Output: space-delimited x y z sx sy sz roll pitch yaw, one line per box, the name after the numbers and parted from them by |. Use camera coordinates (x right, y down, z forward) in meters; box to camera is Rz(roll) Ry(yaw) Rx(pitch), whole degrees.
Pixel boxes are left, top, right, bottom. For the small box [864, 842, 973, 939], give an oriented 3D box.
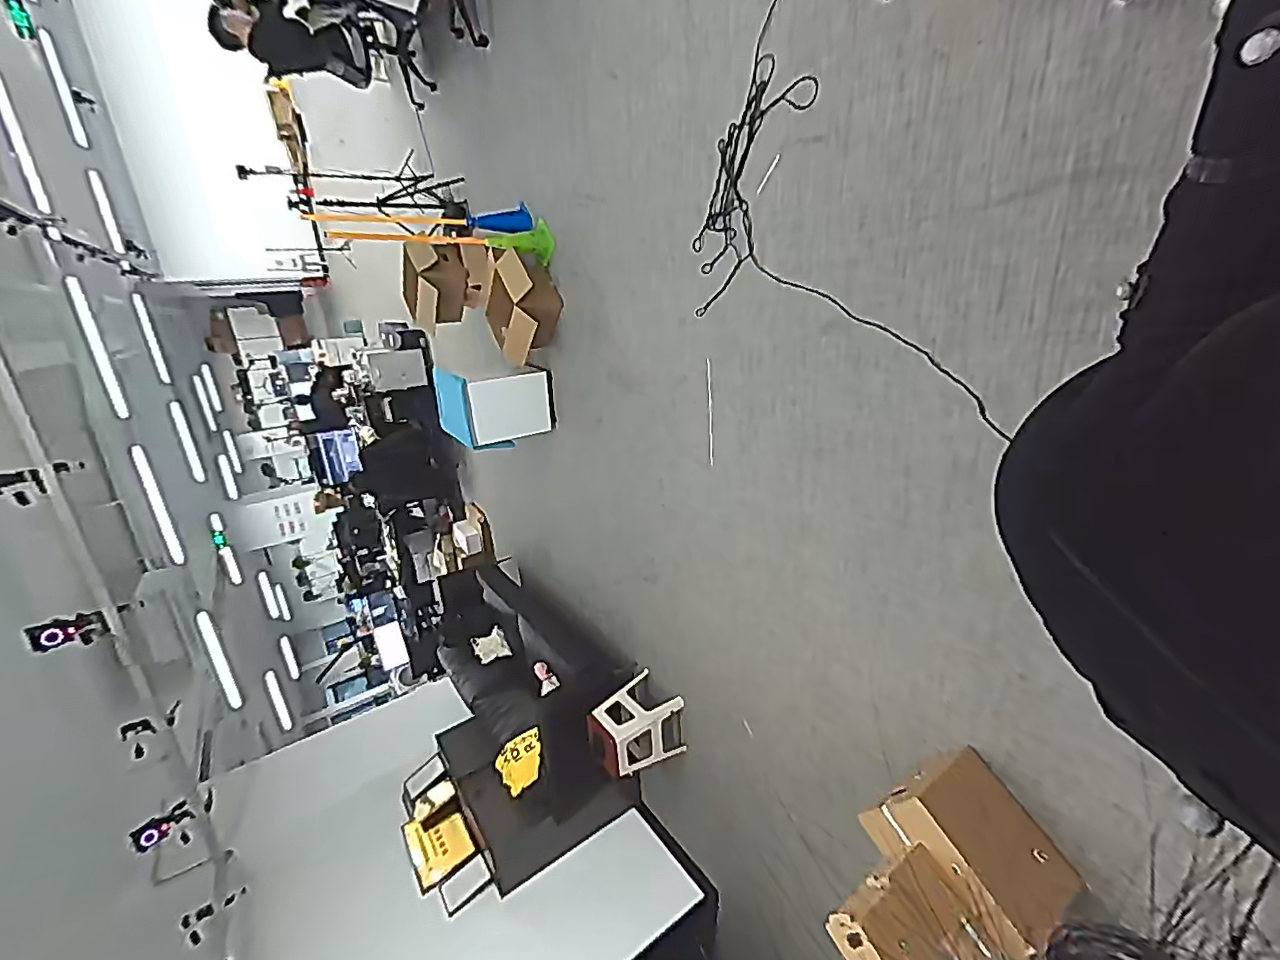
0.787 1.162 1.531 0.179 0.176 0.168 52 144 31 | small box

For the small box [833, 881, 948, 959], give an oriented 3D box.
0.661 1.199 1.430 0.179 0.176 0.168 53 144 26 | small box
